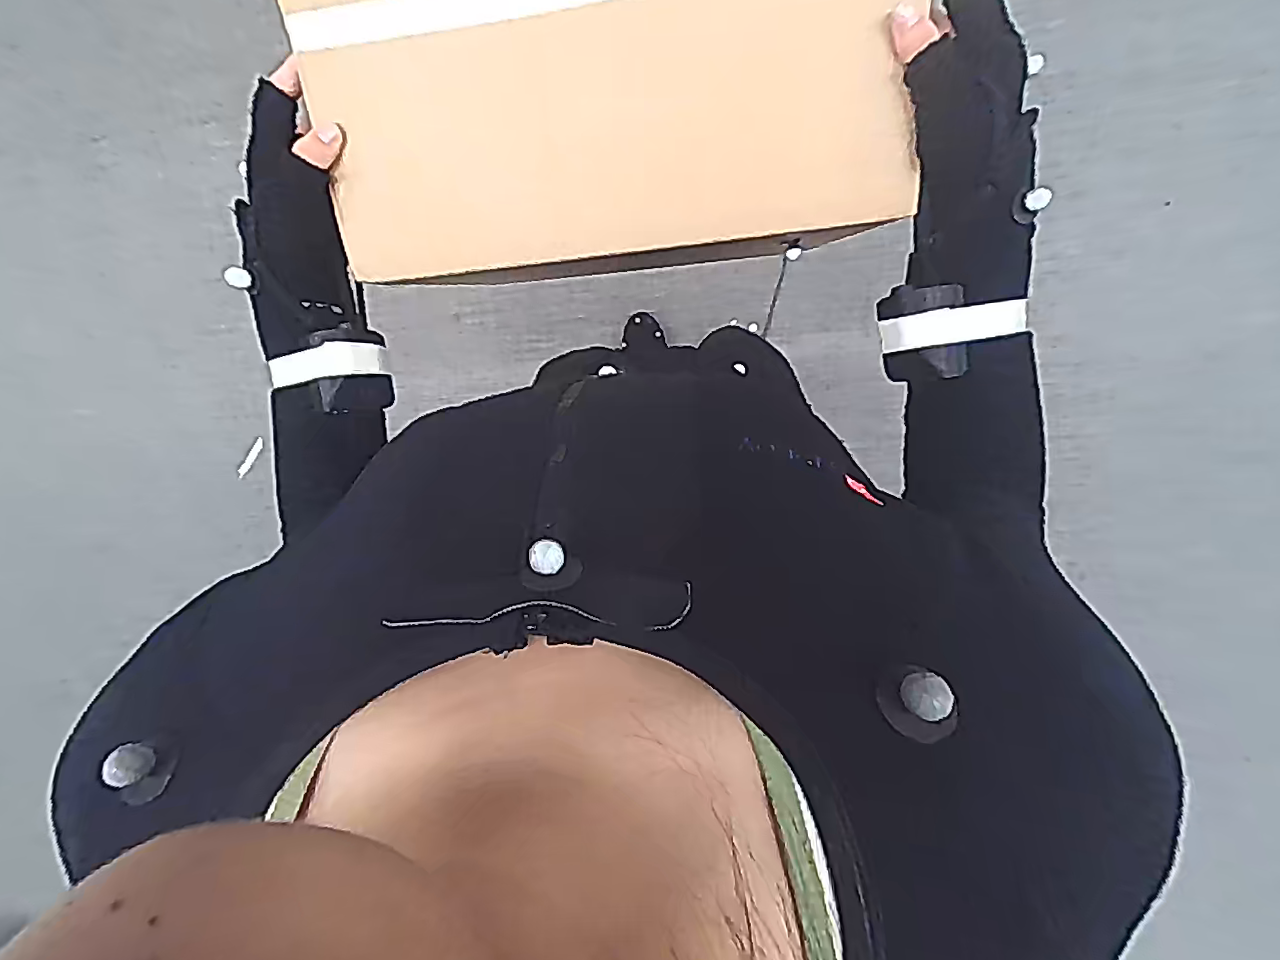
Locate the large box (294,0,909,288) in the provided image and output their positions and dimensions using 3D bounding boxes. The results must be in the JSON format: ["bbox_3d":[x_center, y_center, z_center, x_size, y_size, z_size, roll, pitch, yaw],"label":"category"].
[{"bbox_3d":[-0.020,-0.360,0.488,0.408,0.320,0.320,-4,109,6],"label":"large box"}]
